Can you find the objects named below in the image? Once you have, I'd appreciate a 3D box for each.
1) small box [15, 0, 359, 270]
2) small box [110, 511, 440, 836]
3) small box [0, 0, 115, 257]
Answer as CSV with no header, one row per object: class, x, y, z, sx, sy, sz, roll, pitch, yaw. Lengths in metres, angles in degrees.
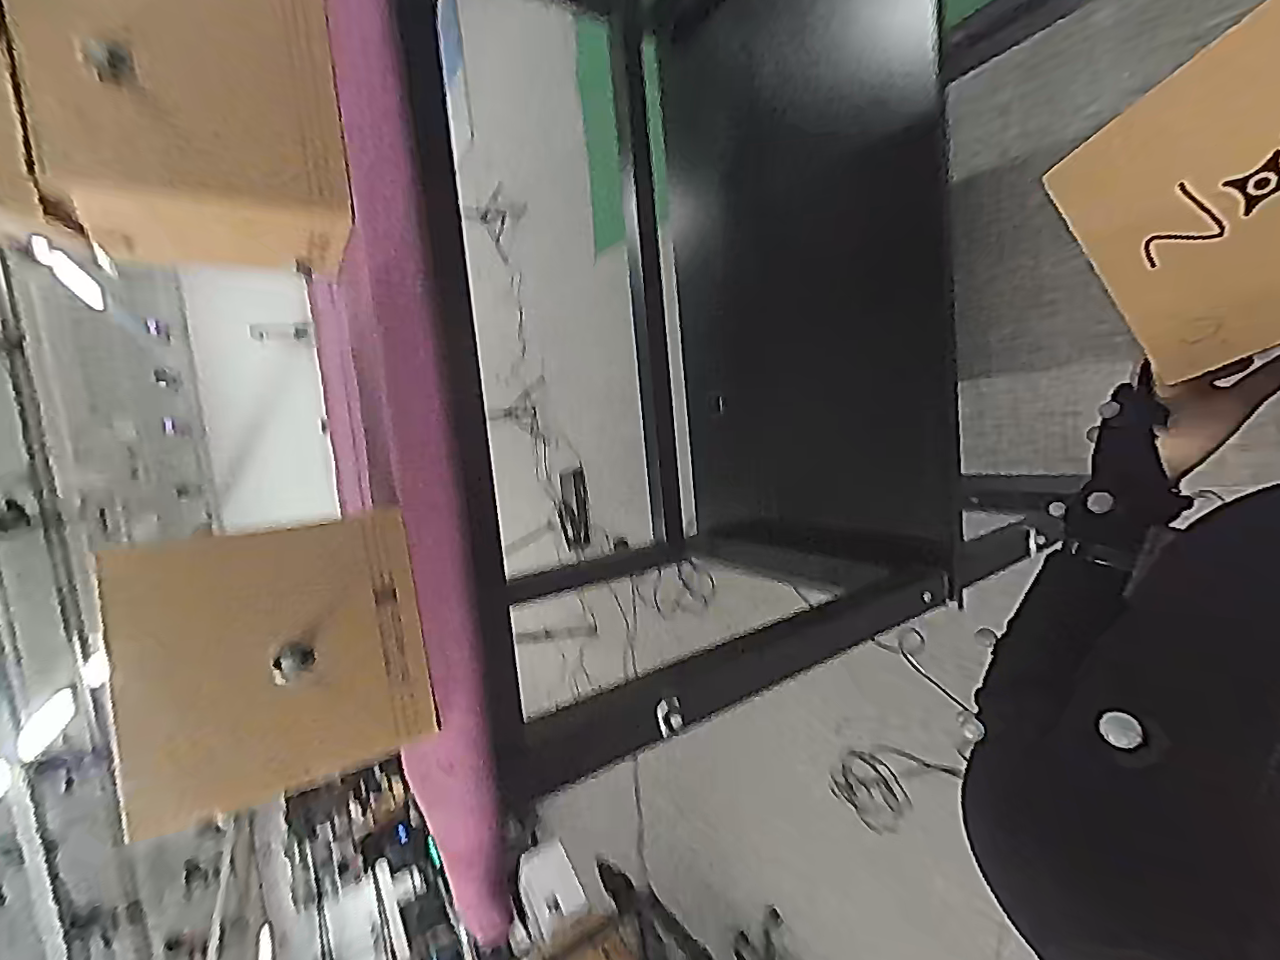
small box,-0.324,-0.269,0.414,0.168,0.176,0.179,4,101,56
small box,-0.263,0.124,0.417,0.179,0.176,0.168,-20,80,56
small box,-0.458,-0.242,0.327,0.168,0.176,0.179,21,116,54
